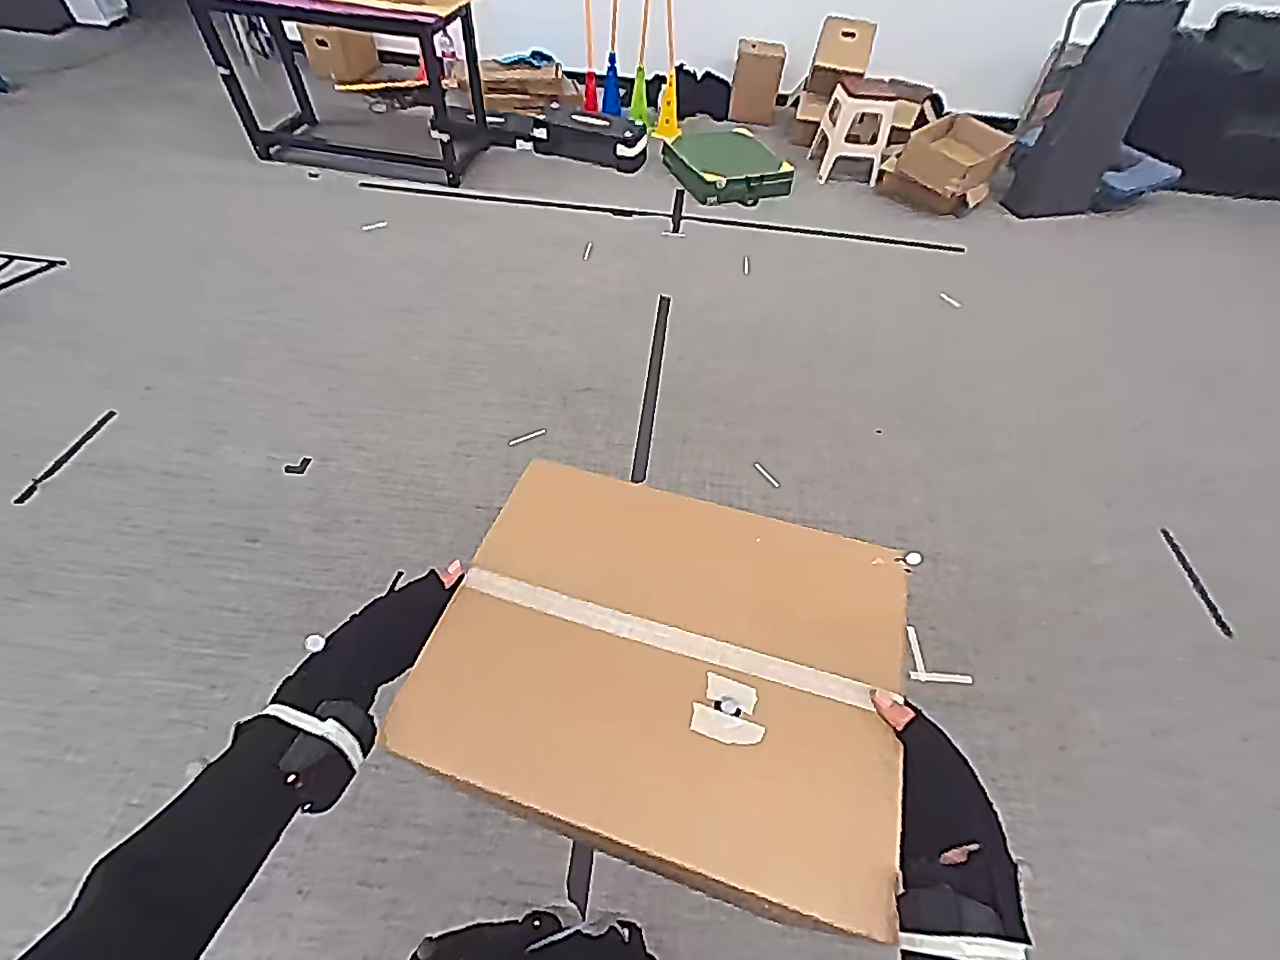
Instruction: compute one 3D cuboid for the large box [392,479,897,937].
[{"bbox_3d":[0.025,0.248,0.612,0.408,0.320,0.320,14,54,11],"label":"large box"}]
